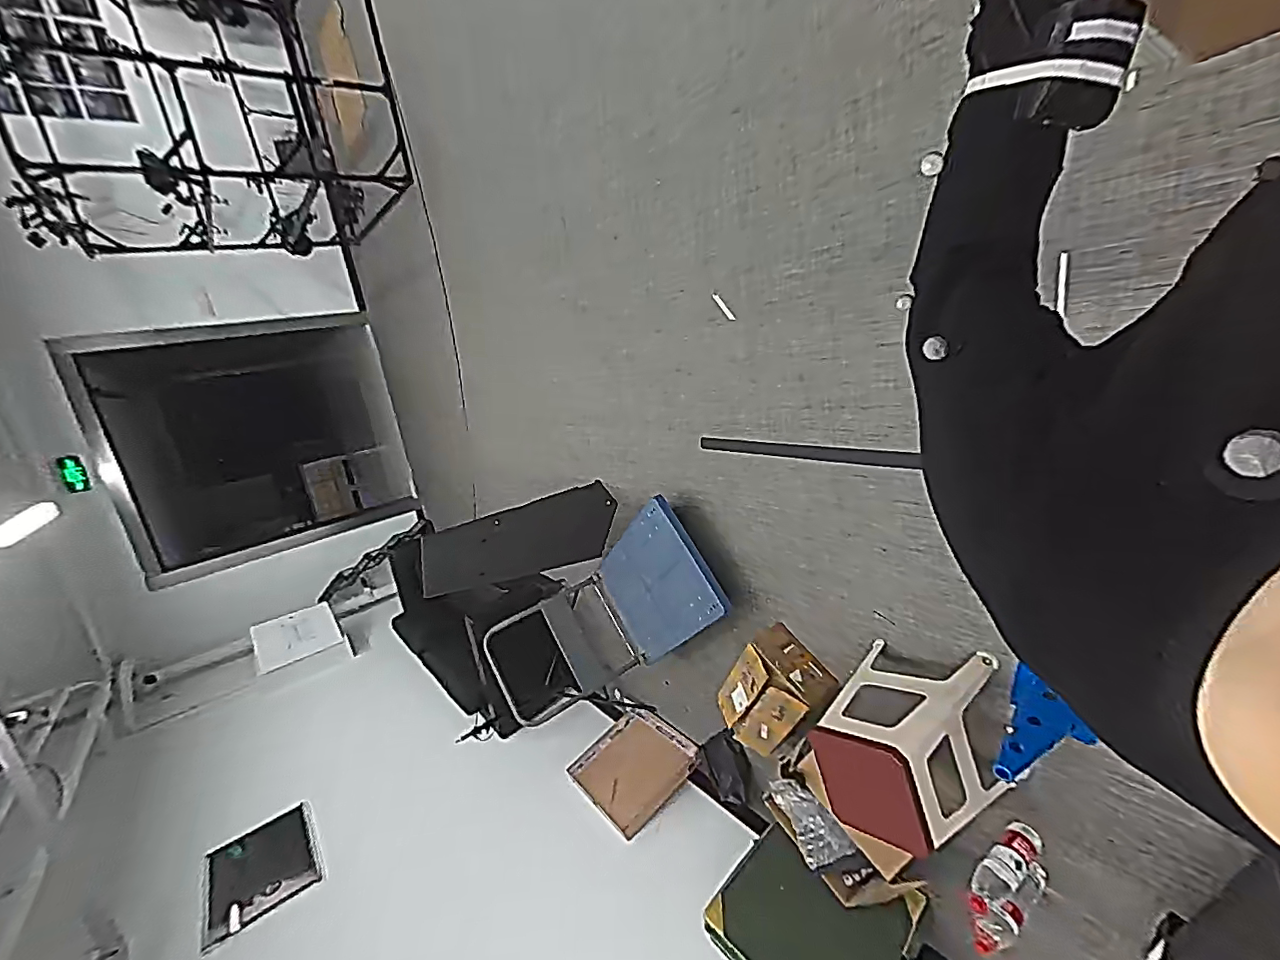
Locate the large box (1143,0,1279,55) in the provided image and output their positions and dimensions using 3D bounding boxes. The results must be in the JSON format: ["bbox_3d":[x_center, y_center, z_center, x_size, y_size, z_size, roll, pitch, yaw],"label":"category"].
[{"bbox_3d":[0.504,-0.498,0.245,0.408,0.320,0.320,5,111,52],"label":"large box"}]
